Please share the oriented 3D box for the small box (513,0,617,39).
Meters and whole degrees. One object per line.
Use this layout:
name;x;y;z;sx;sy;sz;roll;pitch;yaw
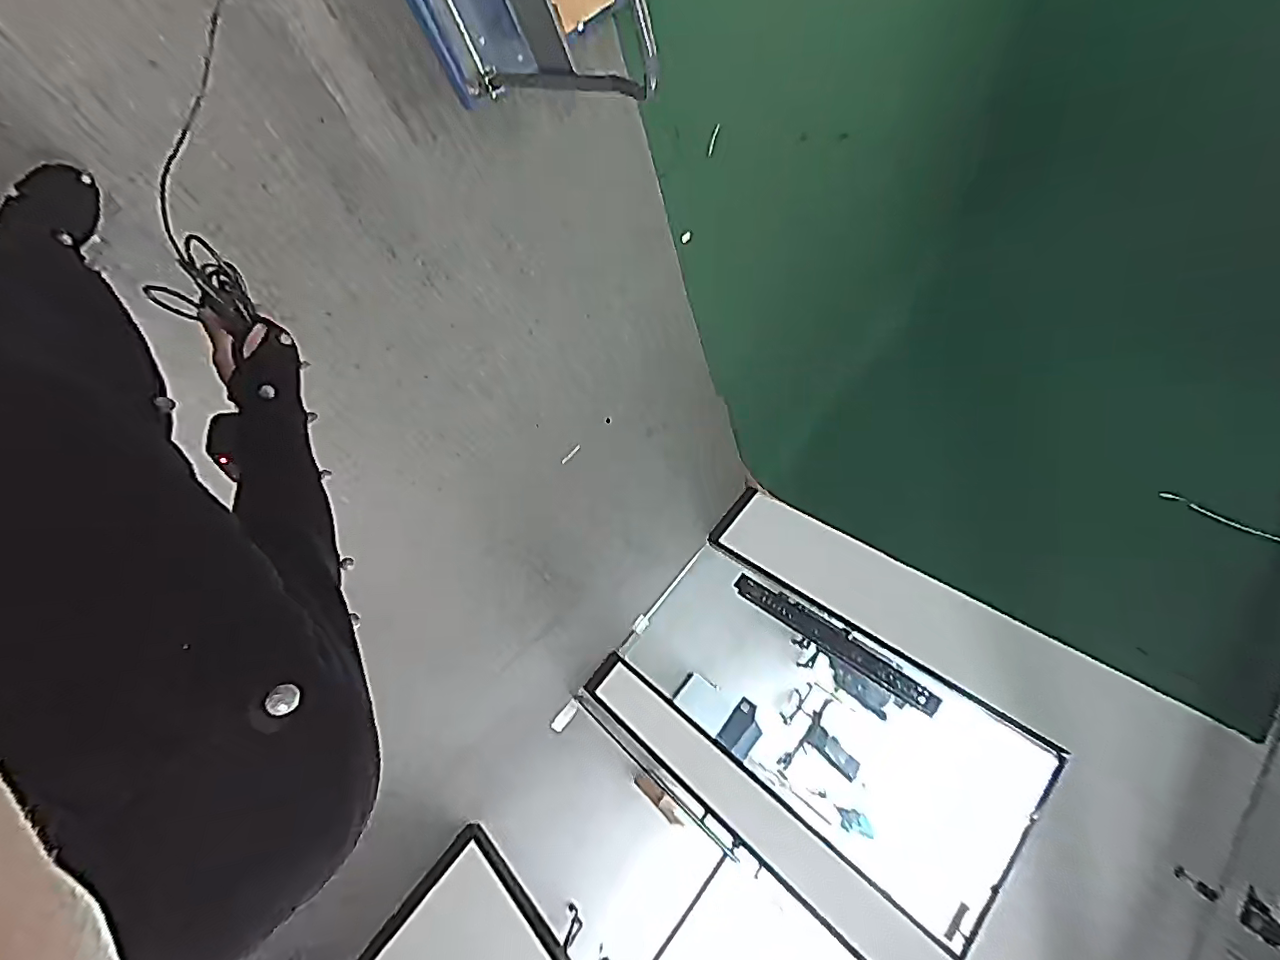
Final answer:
small box;-0.190;-1.166;1.259;0.179;0.176;0.168;-46;141;-15
